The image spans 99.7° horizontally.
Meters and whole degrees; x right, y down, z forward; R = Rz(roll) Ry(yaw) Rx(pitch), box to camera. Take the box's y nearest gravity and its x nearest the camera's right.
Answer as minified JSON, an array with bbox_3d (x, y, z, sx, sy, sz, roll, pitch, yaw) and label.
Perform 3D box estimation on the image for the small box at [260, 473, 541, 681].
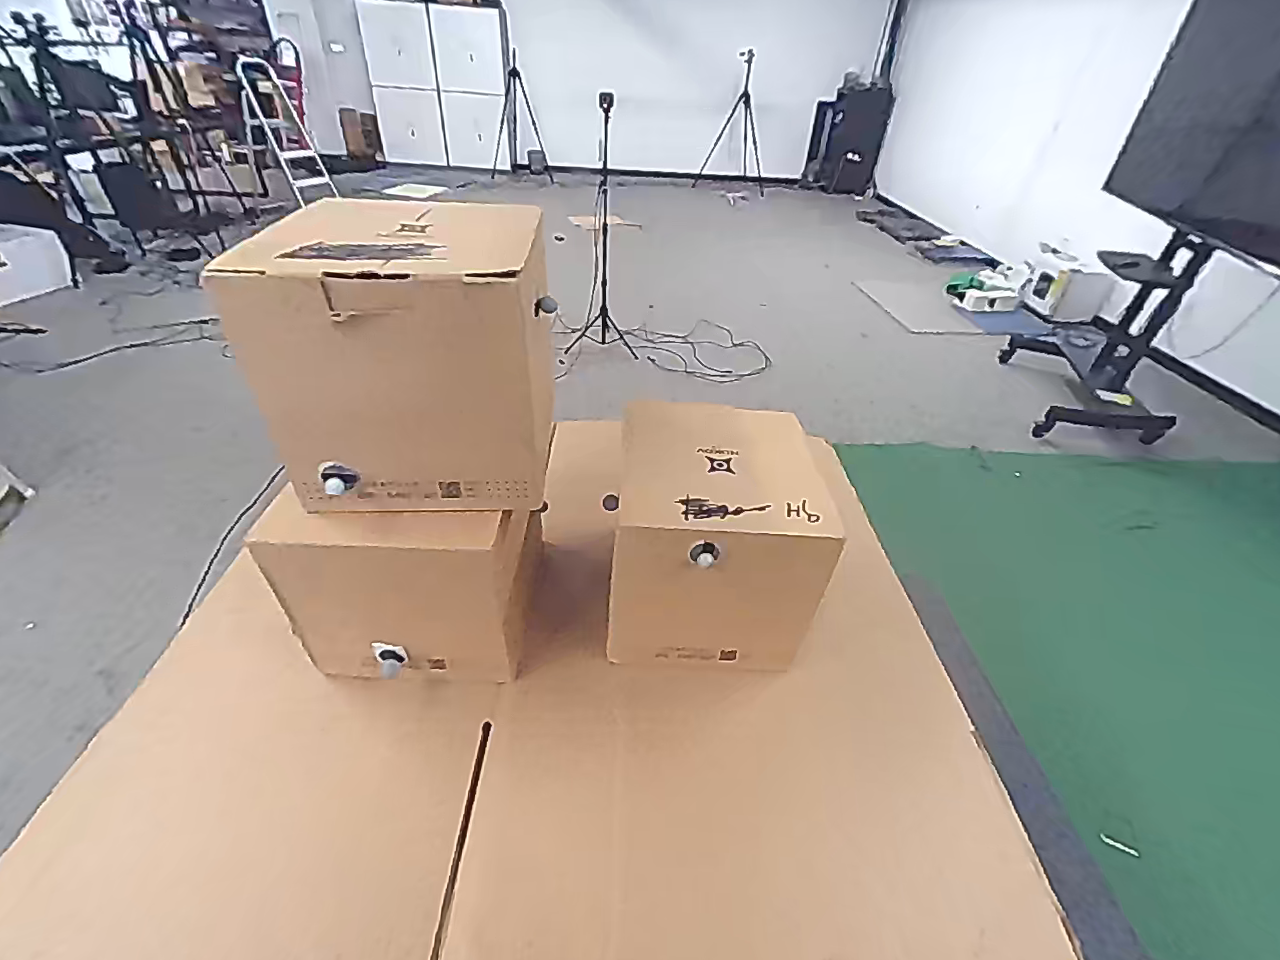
[{"bbox_3d":[-0.183,0.055,0.485,0.168,0.176,0.179,1,40,-2],"label":"small box"}]

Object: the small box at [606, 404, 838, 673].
[{"bbox_3d":[0.057,0.050,0.501,0.168,0.176,0.179,4,37,-2],"label":"small box"}]

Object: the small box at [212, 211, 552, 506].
[{"bbox_3d":[-0.157,-0.093,0.409,0.168,0.176,0.179,0,37,-5],"label":"small box"}]
